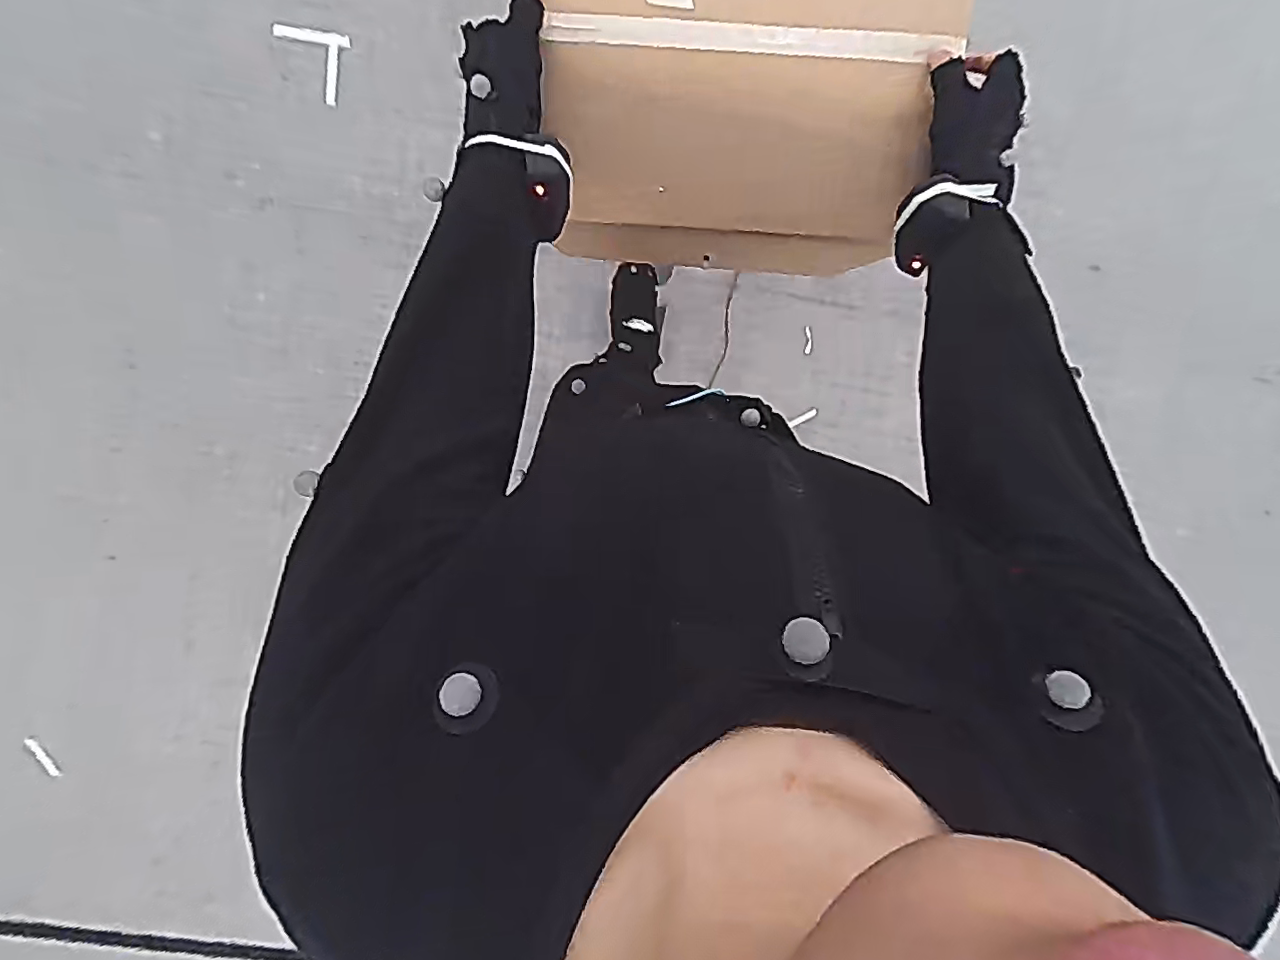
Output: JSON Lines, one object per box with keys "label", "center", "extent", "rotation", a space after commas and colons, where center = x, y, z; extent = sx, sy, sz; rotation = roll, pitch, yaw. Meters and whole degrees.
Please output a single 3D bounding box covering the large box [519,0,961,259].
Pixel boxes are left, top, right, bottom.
{"label": "large box", "center": [0.094, -0.448, 0.639], "extent": [0.408, 0.320, 0.320], "rotation": [5, 105, 1]}
